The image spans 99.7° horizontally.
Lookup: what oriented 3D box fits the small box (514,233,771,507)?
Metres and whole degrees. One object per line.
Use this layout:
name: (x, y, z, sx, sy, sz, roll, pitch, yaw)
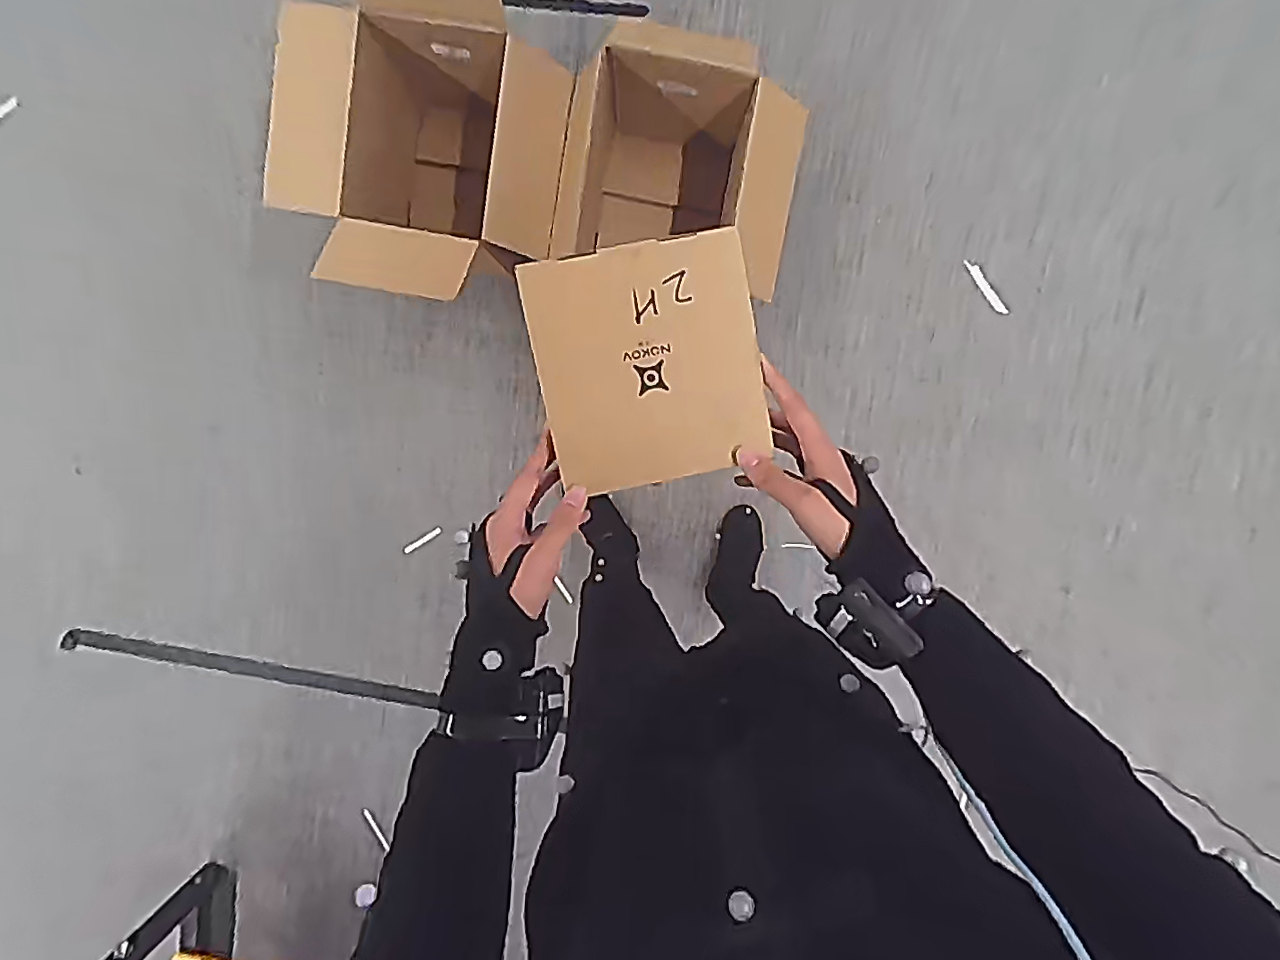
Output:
small box: (0.000, -0.089, 0.471, 0.168, 0.176, 0.179, -11, 98, -3)
